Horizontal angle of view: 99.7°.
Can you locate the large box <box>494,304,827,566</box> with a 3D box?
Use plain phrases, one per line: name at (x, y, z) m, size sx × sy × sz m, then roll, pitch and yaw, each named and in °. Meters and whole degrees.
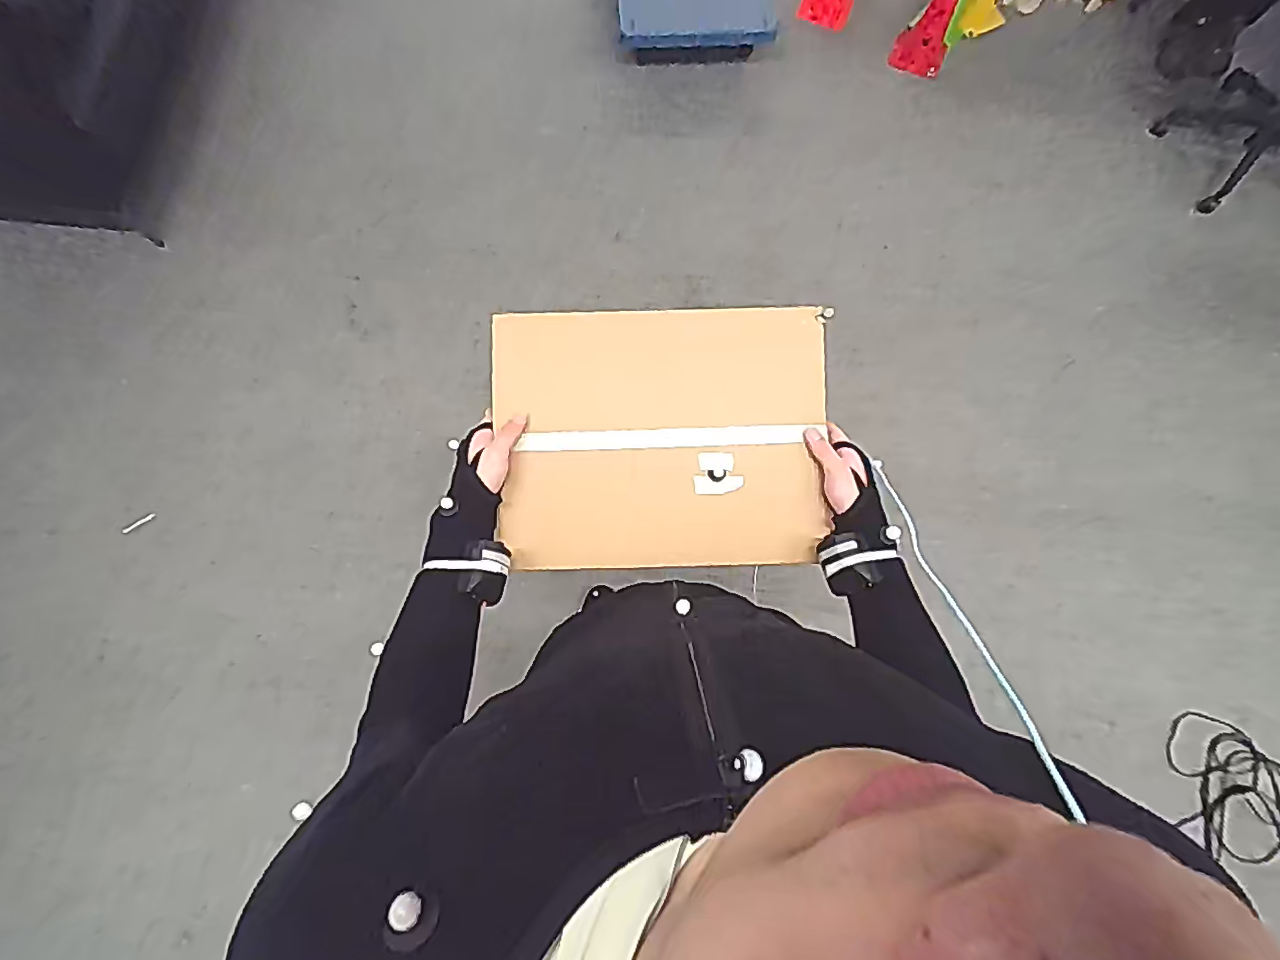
large box at (0.021, -0.052, 0.811) m, size 0.408 × 0.320 × 0.320 m, roll -2°, pitch 88°, yaw -1°
